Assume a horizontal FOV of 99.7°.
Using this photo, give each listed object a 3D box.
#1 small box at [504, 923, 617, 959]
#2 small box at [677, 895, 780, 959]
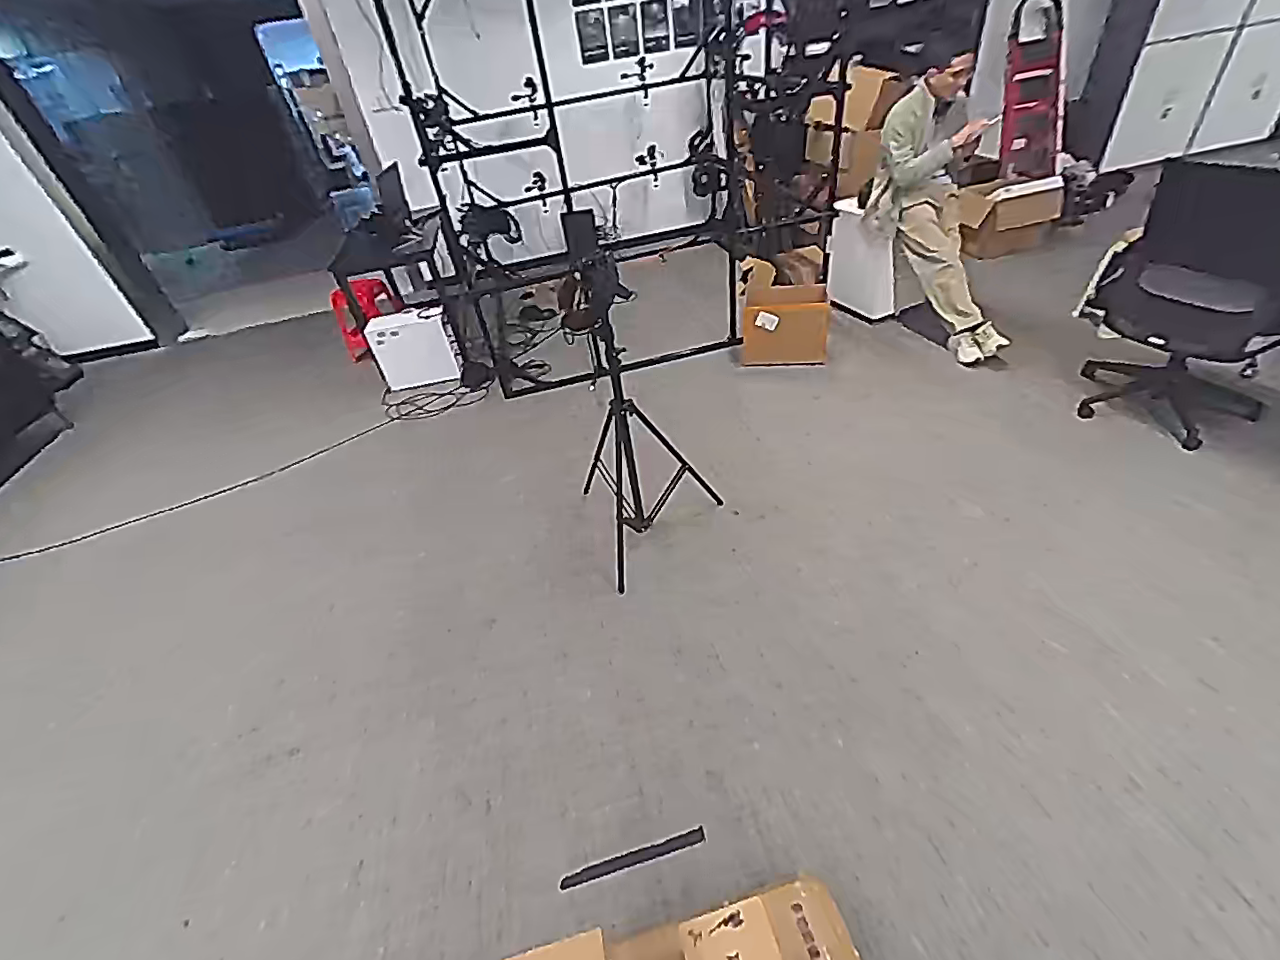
[{"bbox_3d":[-0.114,0.855,0.859,0.168,0.176,0.179,-14,39,-6],"label":"small box"},{"bbox_3d":[0.178,0.911,0.996,0.168,0.176,0.179,-15,39,-4],"label":"small box"}]
